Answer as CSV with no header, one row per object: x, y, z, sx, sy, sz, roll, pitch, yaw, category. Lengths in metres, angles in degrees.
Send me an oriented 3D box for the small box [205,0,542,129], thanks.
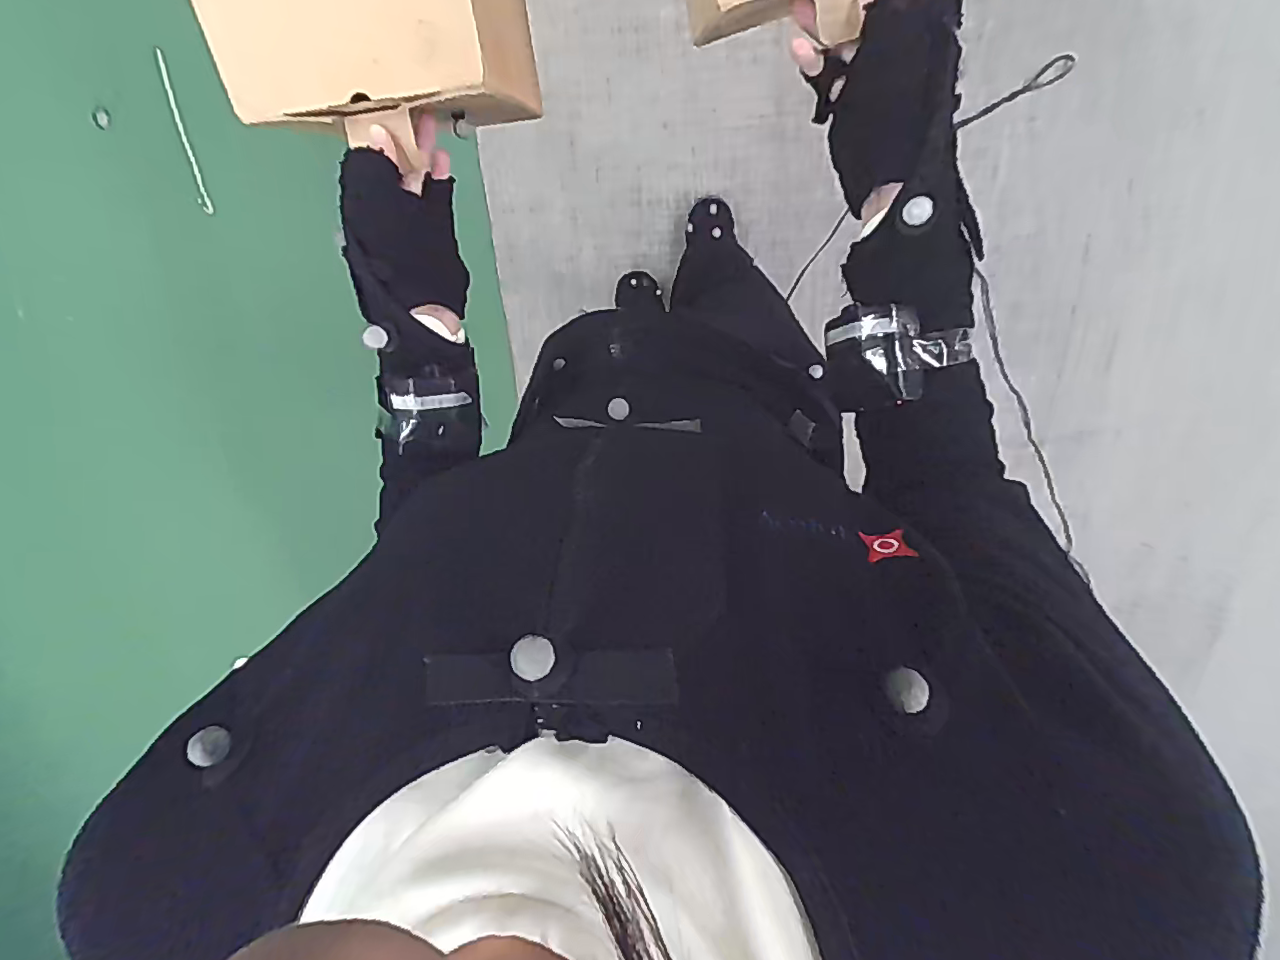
-0.174,-0.354,0.369,0.168,0.176,0.179,-5,117,5,small box

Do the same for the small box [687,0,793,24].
0.099,-0.410,0.325,0.168,0.176,0.179,-14,123,8,small box
